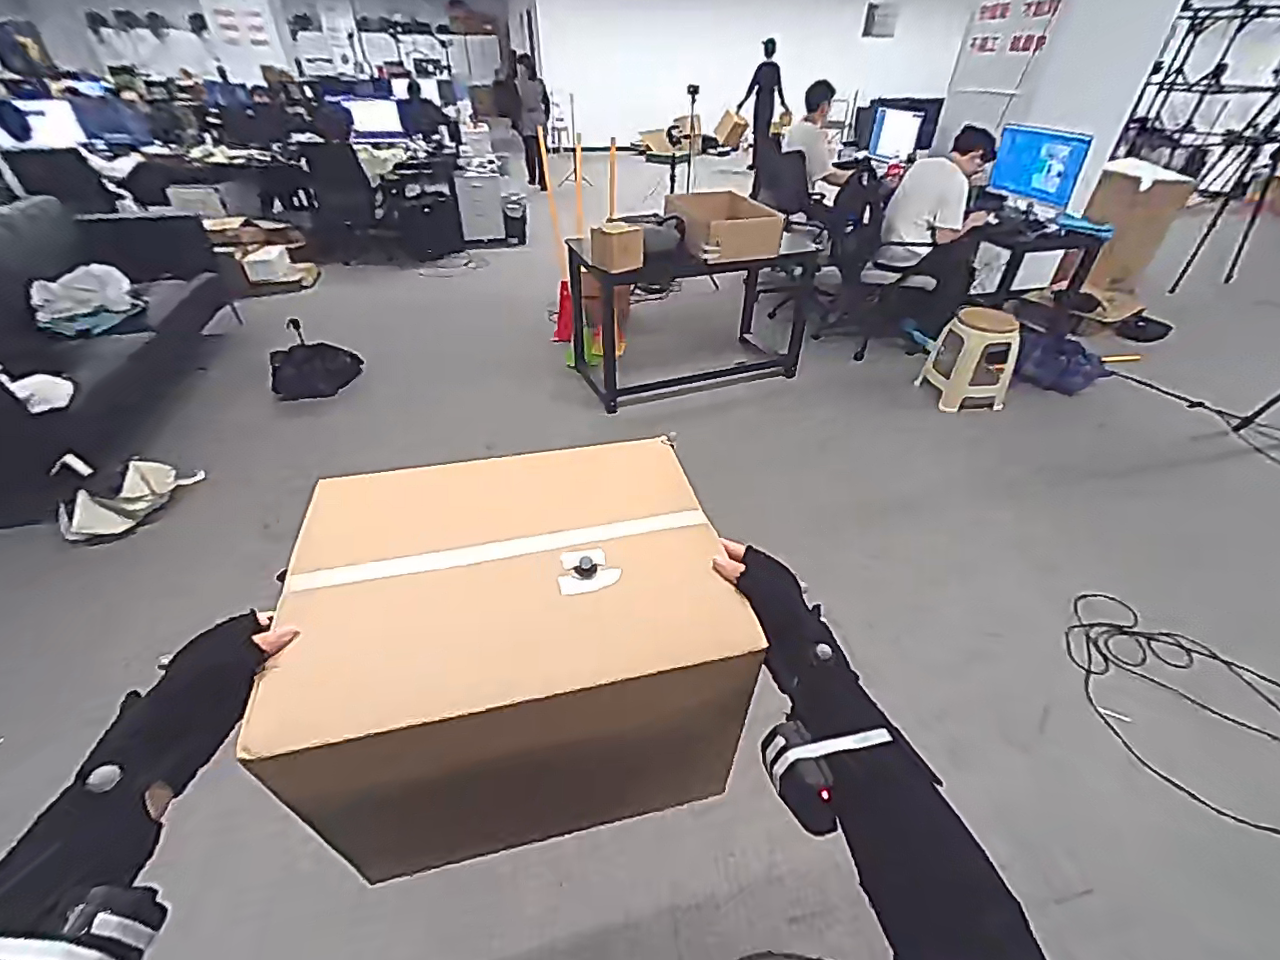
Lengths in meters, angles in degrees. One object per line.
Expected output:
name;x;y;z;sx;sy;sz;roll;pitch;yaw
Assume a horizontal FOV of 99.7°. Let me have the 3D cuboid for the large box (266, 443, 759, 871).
large box;-0.125;0.188;0.638;0.408;0.320;0.320;-8;41;-11
